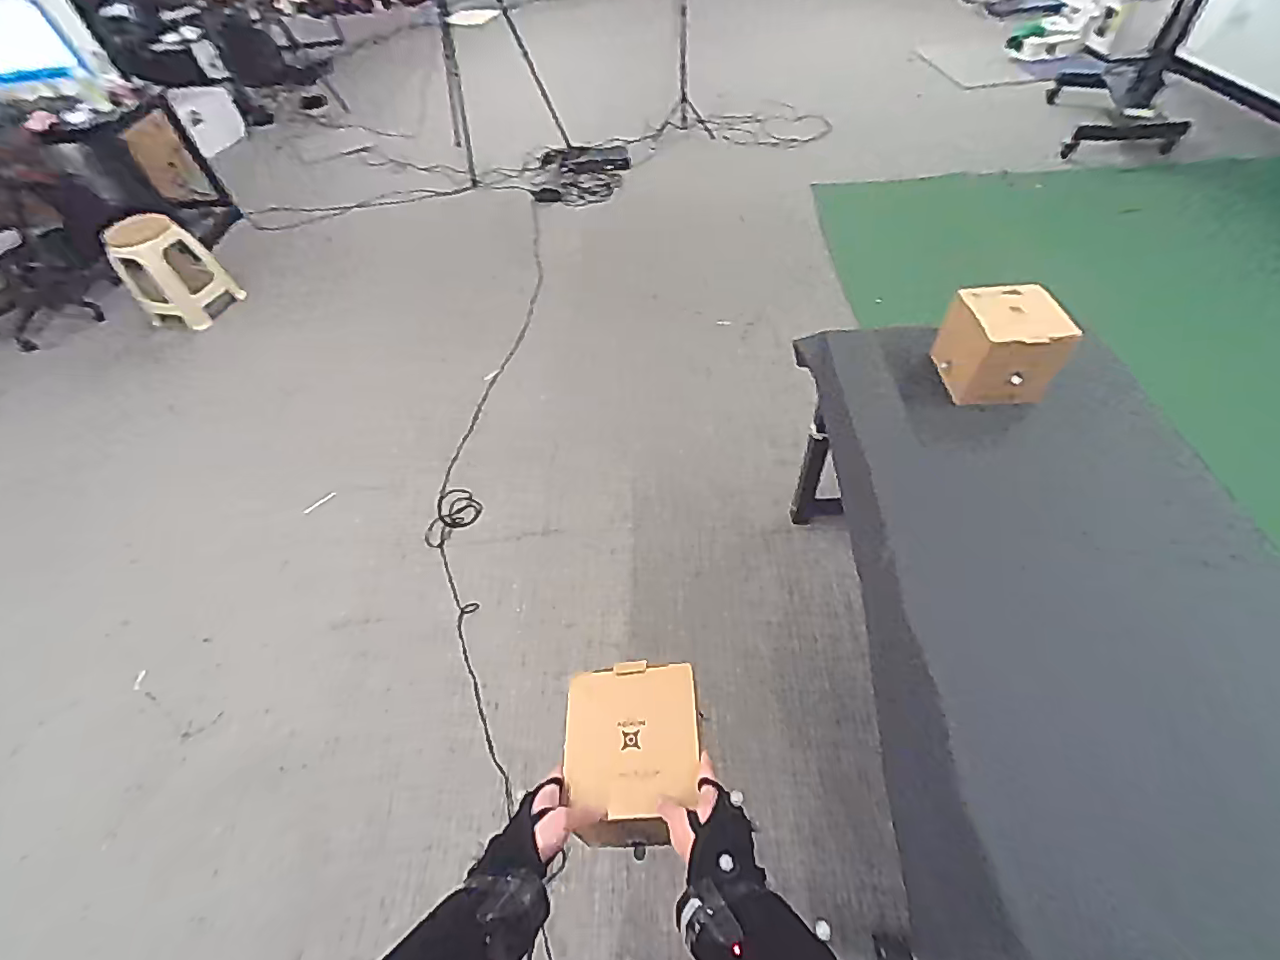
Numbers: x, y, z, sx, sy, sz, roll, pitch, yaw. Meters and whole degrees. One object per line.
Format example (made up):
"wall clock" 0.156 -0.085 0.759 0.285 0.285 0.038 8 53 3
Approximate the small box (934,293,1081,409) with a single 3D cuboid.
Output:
"small box" 0.741 -0.259 1.114 0.168 0.176 0.179 -2 52 4

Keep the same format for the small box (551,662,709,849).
"small box" -0.003 0.358 0.700 0.168 0.176 0.179 -7 46 8
